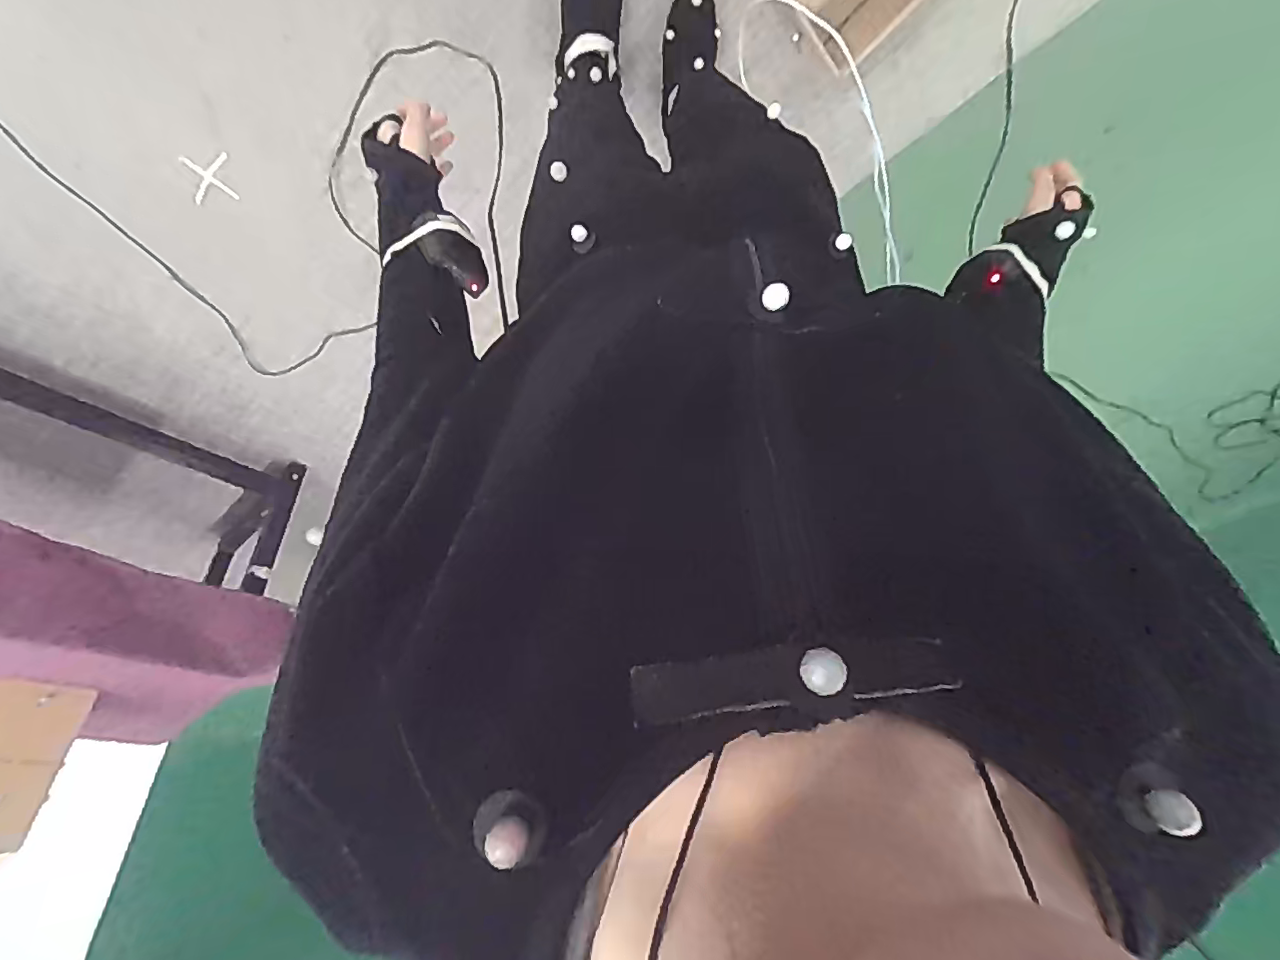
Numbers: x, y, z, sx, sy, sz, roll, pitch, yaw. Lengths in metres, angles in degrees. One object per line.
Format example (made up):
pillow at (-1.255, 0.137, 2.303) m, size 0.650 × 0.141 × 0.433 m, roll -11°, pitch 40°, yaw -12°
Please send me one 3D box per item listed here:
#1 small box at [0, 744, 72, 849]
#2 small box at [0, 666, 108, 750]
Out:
small box at (-1.393, 0.677, 1.159) m, size 0.168 × 0.176 × 0.179 m, roll -34°, pitch 136°, yaw 28°
small box at (-1.413, 0.550, 1.262) m, size 0.168 × 0.176 × 0.179 m, roll -34°, pitch 135°, yaw 28°
